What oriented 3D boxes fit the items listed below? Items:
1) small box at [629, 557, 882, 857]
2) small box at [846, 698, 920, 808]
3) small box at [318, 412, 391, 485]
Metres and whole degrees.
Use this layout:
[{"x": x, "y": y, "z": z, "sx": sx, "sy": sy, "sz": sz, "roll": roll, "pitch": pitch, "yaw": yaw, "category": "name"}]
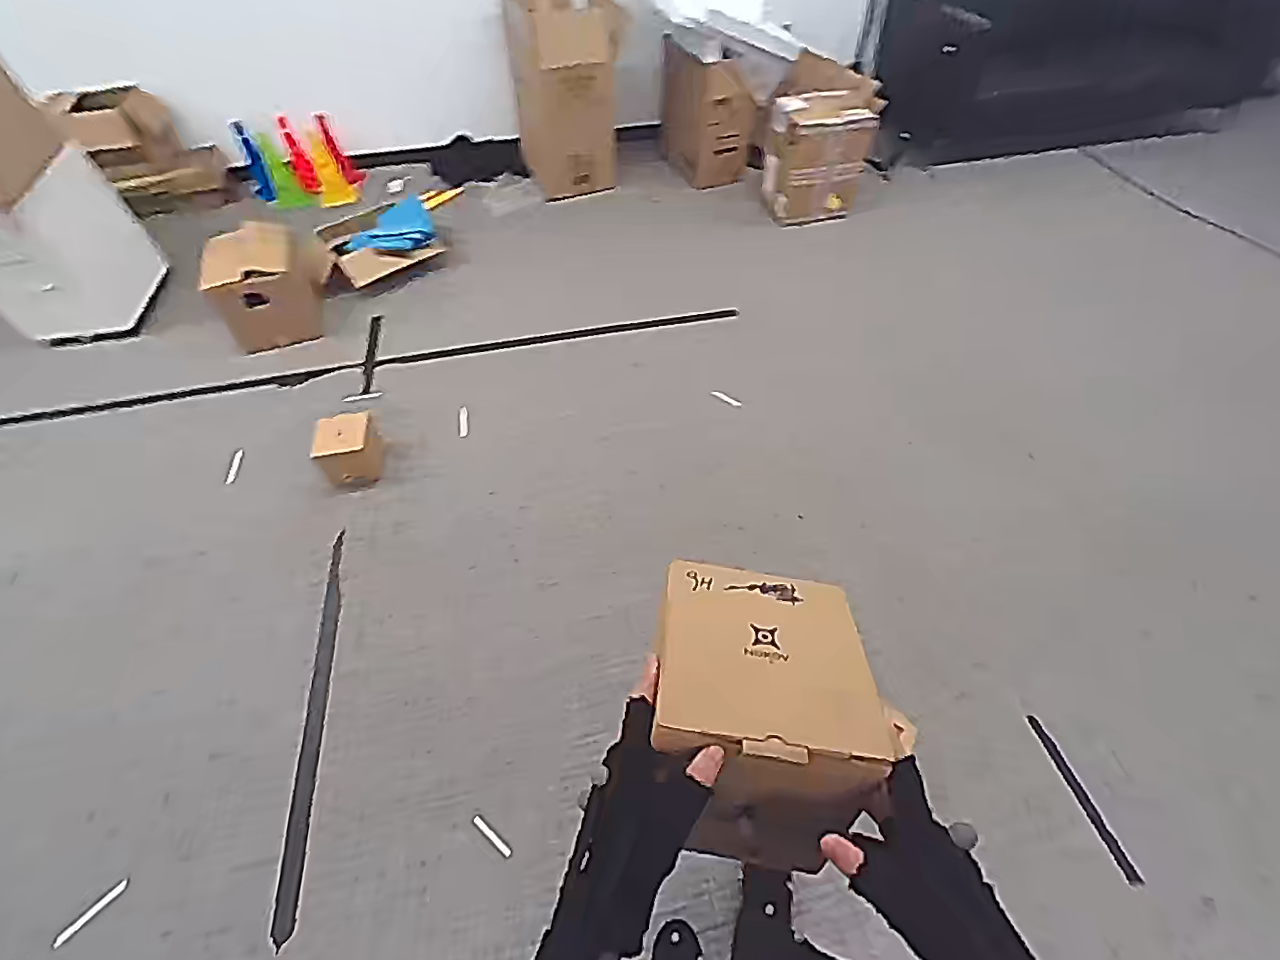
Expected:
[{"x": 0.085, "y": 0.198, "z": 0.481, "sx": 0.168, "sy": 0.176, "sz": 0.179, "roll": 9, "pitch": 33, "yaw": 1, "category": "small box"}, {"x": 0.524, "y": 0.642, "z": 1.287, "sx": 0.168, "sy": 0.176, "sz": 0.179, "roll": 32, "pitch": 60, "yaw": 23, "category": "small box"}, {"x": -0.980, "y": -0.109, "z": 1.874, "sx": 0.168, "sy": 0.176, "sz": 0.179, "roll": -10, "pitch": 54, "yaw": -6, "category": "small box"}]
